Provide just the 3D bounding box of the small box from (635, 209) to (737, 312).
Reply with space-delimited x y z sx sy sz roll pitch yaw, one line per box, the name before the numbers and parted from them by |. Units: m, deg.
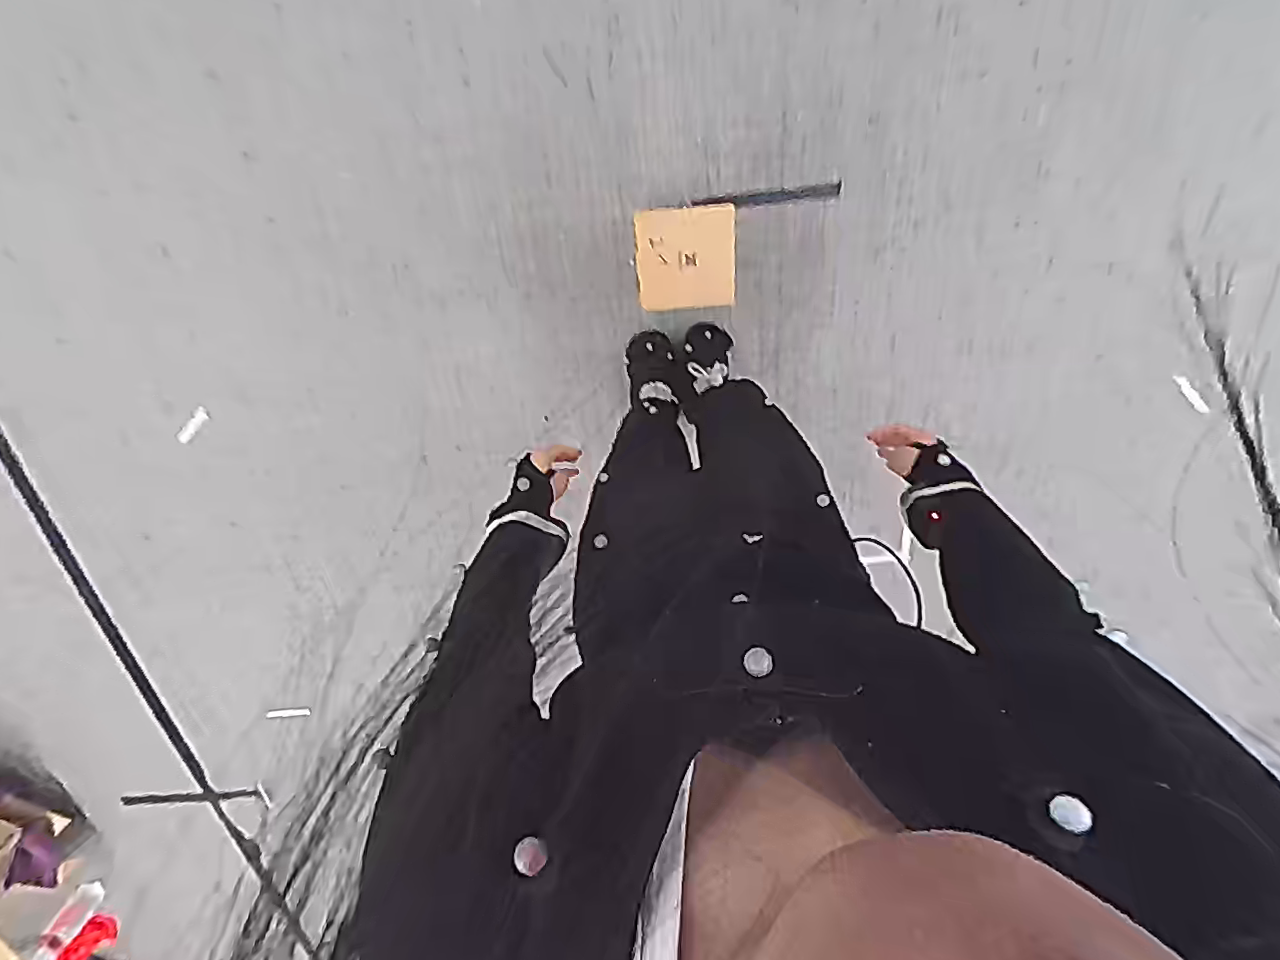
small box | 0.083 -0.421 1.035 0.179 0.176 0.168 -4 113 1
